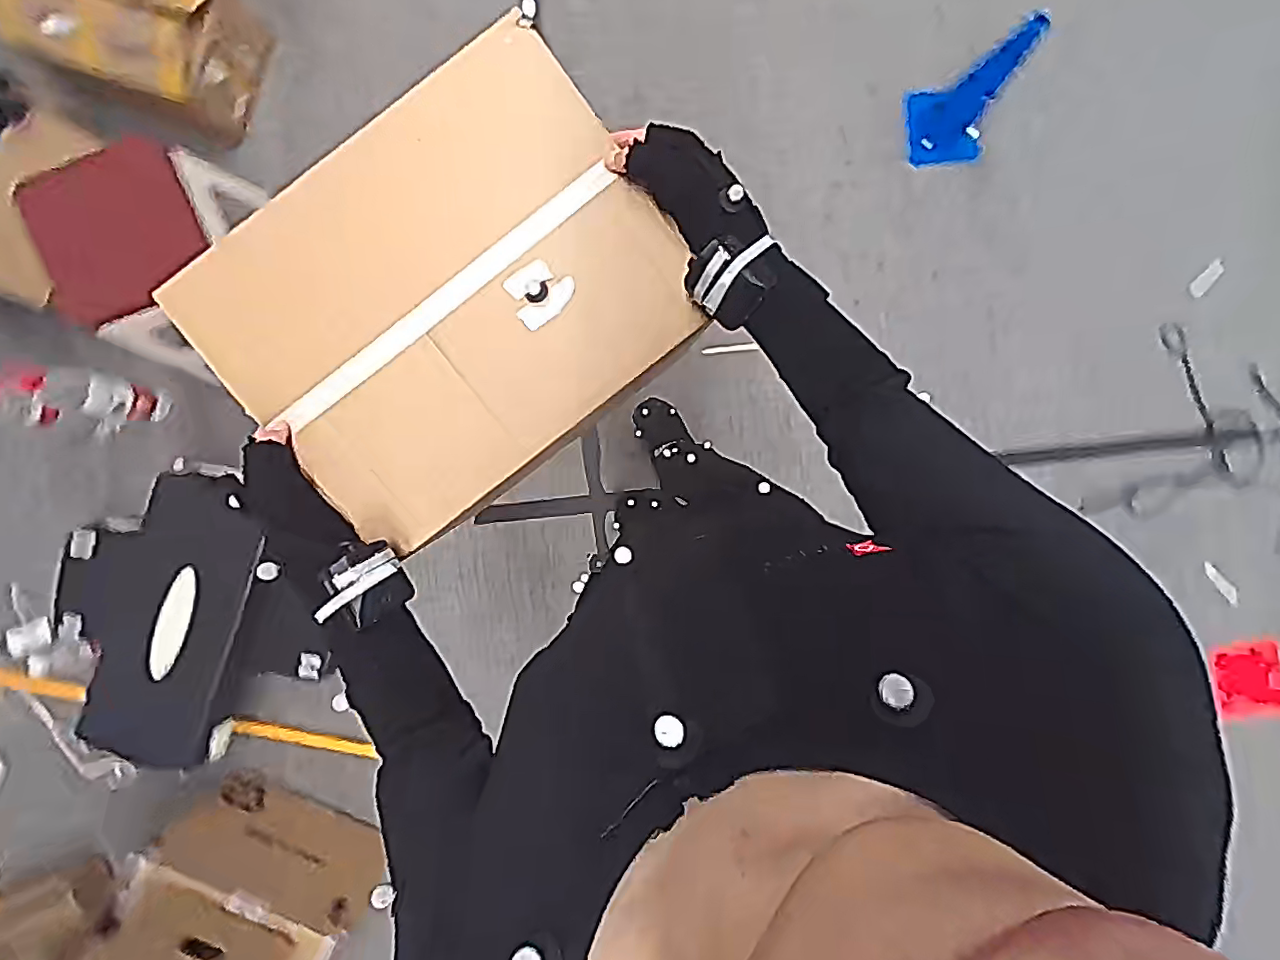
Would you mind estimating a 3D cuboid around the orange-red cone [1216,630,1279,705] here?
[{"bbox_3d":[1.743,0.537,1.363,0.199,0.360,0.198,-10,93,-2],"label":"orange-red cone"}]

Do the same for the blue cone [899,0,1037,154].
[{"bbox_3d":[0.816,-0.993,1.319,0.193,0.380,0.192,-4,90,-1],"label":"blue cone"}]
